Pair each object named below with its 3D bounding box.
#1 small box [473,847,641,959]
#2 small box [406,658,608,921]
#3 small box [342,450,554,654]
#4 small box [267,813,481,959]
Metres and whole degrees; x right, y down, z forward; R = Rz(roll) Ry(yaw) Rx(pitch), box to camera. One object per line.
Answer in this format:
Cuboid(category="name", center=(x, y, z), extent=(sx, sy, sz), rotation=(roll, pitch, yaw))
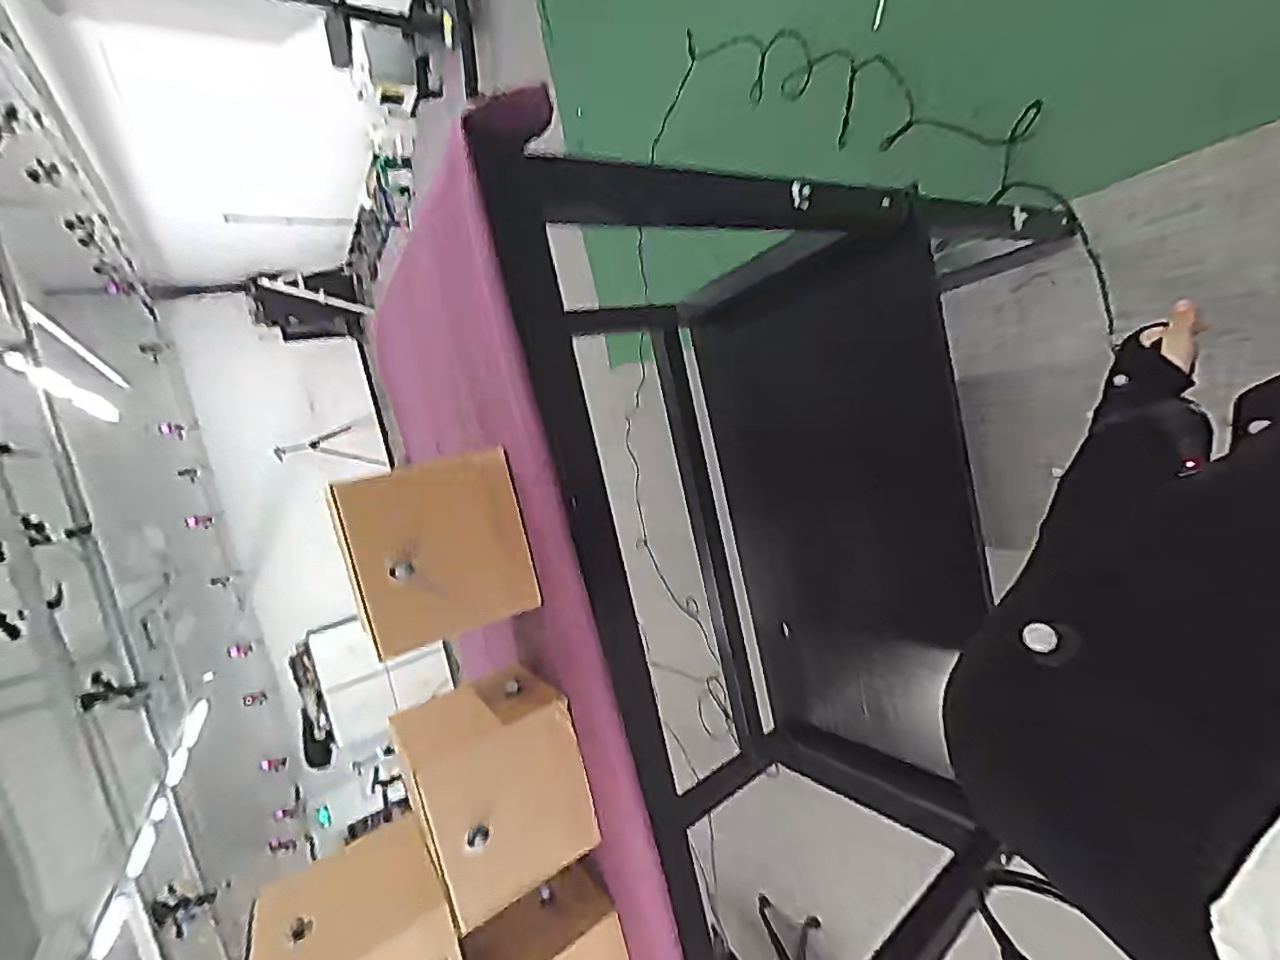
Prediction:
Cuboid(category="small box", center=(-0.102, 0.598, 0.660), extent=(0.168, 0.176, 0.179), rotation=(-9, 96, 57))
Cuboid(category="small box", center=(-0.154, 0.337, 0.633), extent=(0.168, 0.176, 0.179), rotation=(-5, 99, 58))
Cuboid(category="small box", center=(-0.218, 0.067, 0.615), extent=(0.168, 0.176, 0.179), rotation=(-5, 100, 58))
Cuboid(category="small box", center=(-0.269, 0.496, 0.567), extent=(0.179, 0.176, 0.168), rotation=(-2, 100, 58))
